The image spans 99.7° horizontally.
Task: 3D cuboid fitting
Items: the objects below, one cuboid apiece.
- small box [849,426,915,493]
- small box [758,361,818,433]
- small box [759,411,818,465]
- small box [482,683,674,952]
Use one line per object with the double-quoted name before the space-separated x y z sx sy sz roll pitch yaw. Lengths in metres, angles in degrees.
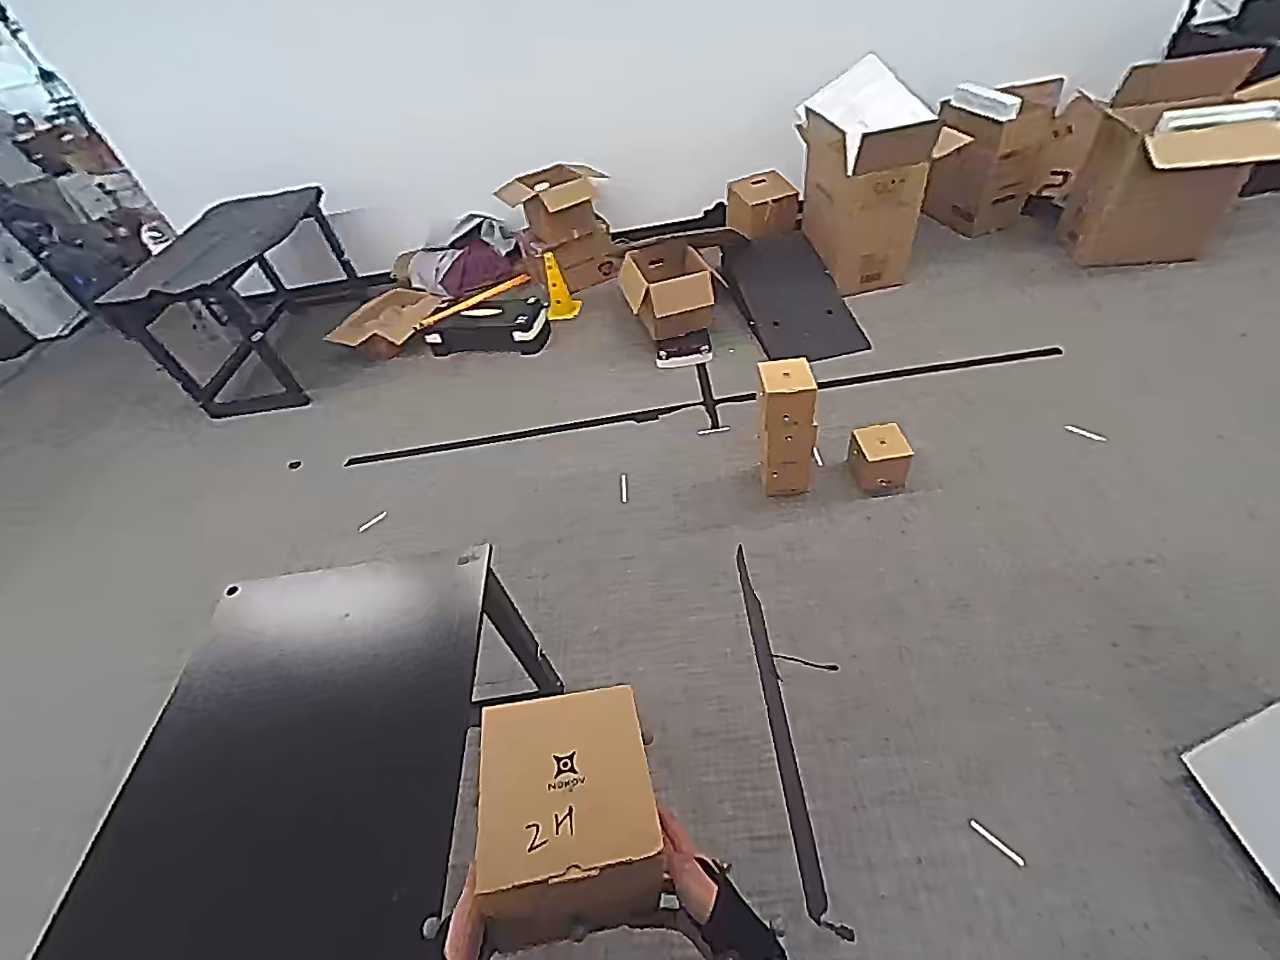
"small box" 0.907 -0.077 2.043 0.168 0.176 0.179 -10 47 3
"small box" 0.501 -0.284 1.859 0.168 0.176 0.179 -6 47 4
"small box" 0.534 -0.169 1.970 0.179 0.176 0.168 -7 46 2
"small box" -0.067 0.347 0.569 0.168 0.176 0.179 -5 36 -9
